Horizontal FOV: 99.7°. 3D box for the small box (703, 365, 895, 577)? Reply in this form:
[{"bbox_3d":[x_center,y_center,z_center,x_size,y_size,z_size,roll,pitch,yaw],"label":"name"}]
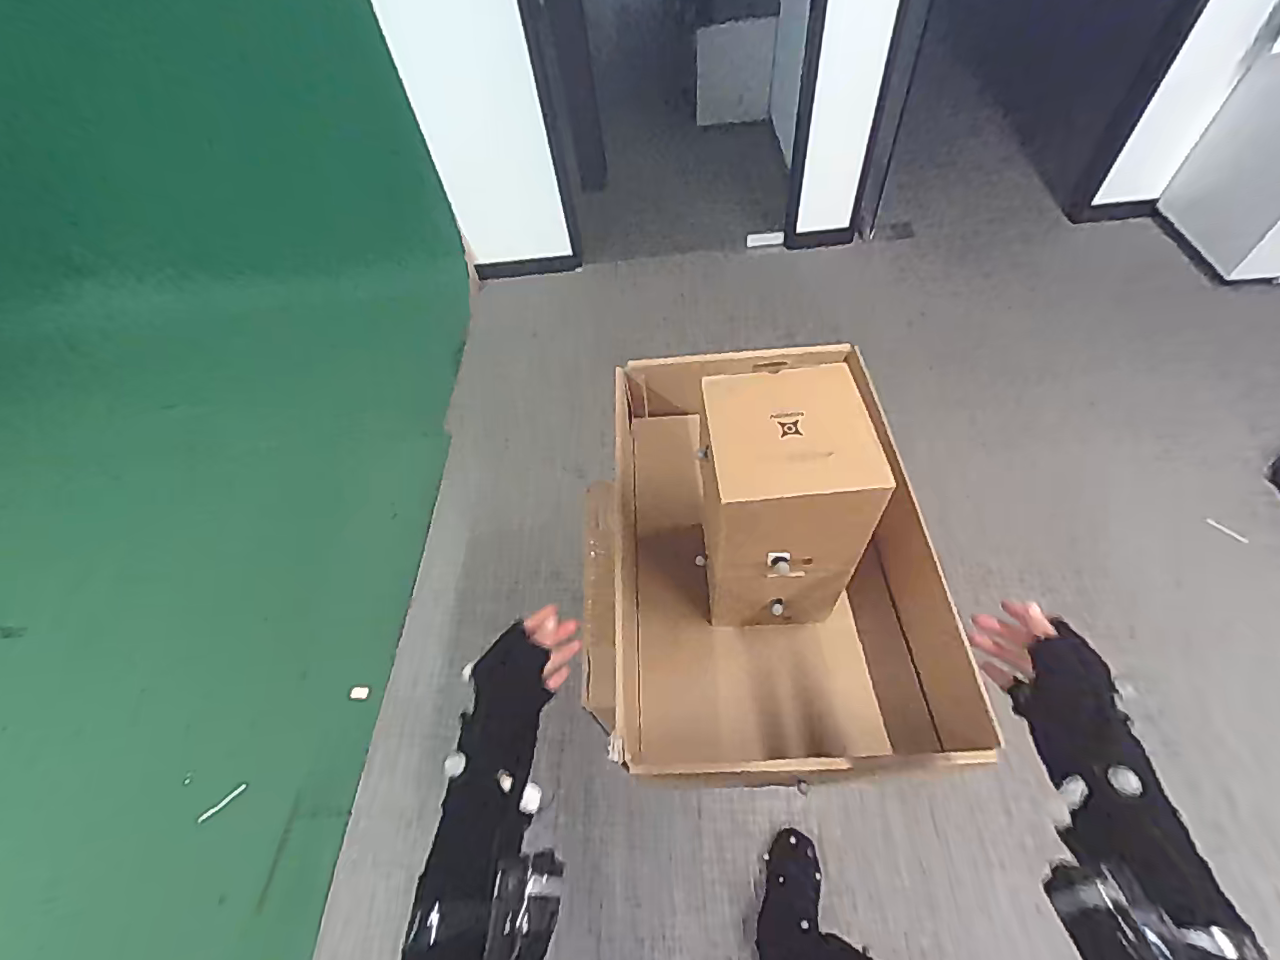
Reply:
[{"bbox_3d":[0.163,-0.006,0.627,0.168,0.176,0.179,-6,54,3],"label":"small box"}]
